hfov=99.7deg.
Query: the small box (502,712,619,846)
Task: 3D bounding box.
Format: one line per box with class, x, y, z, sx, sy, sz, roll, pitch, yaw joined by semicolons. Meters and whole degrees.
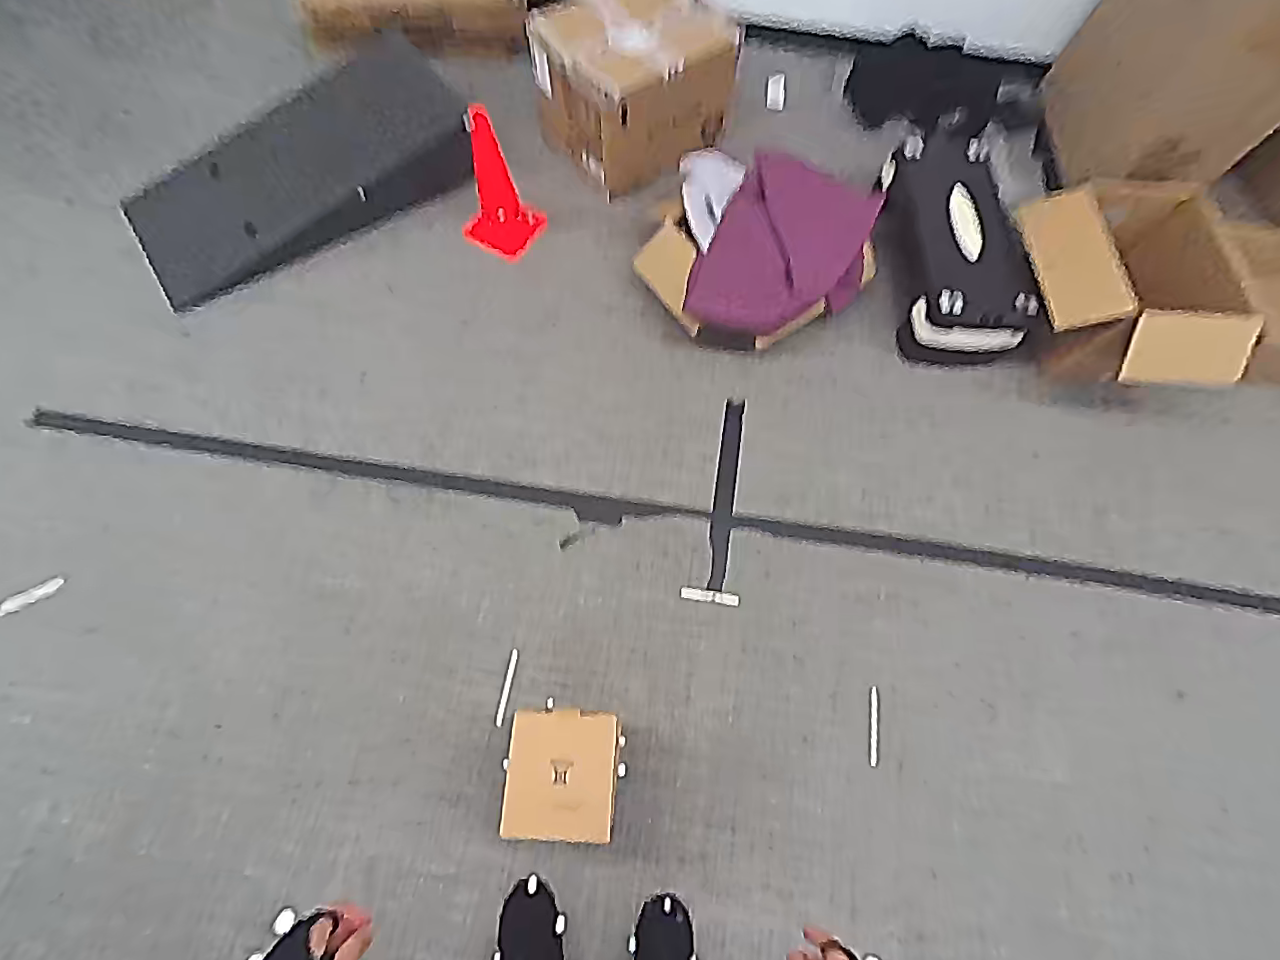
small box;-0.122;0.488;0.905;0.168;0.176;0.179;2;69;0
